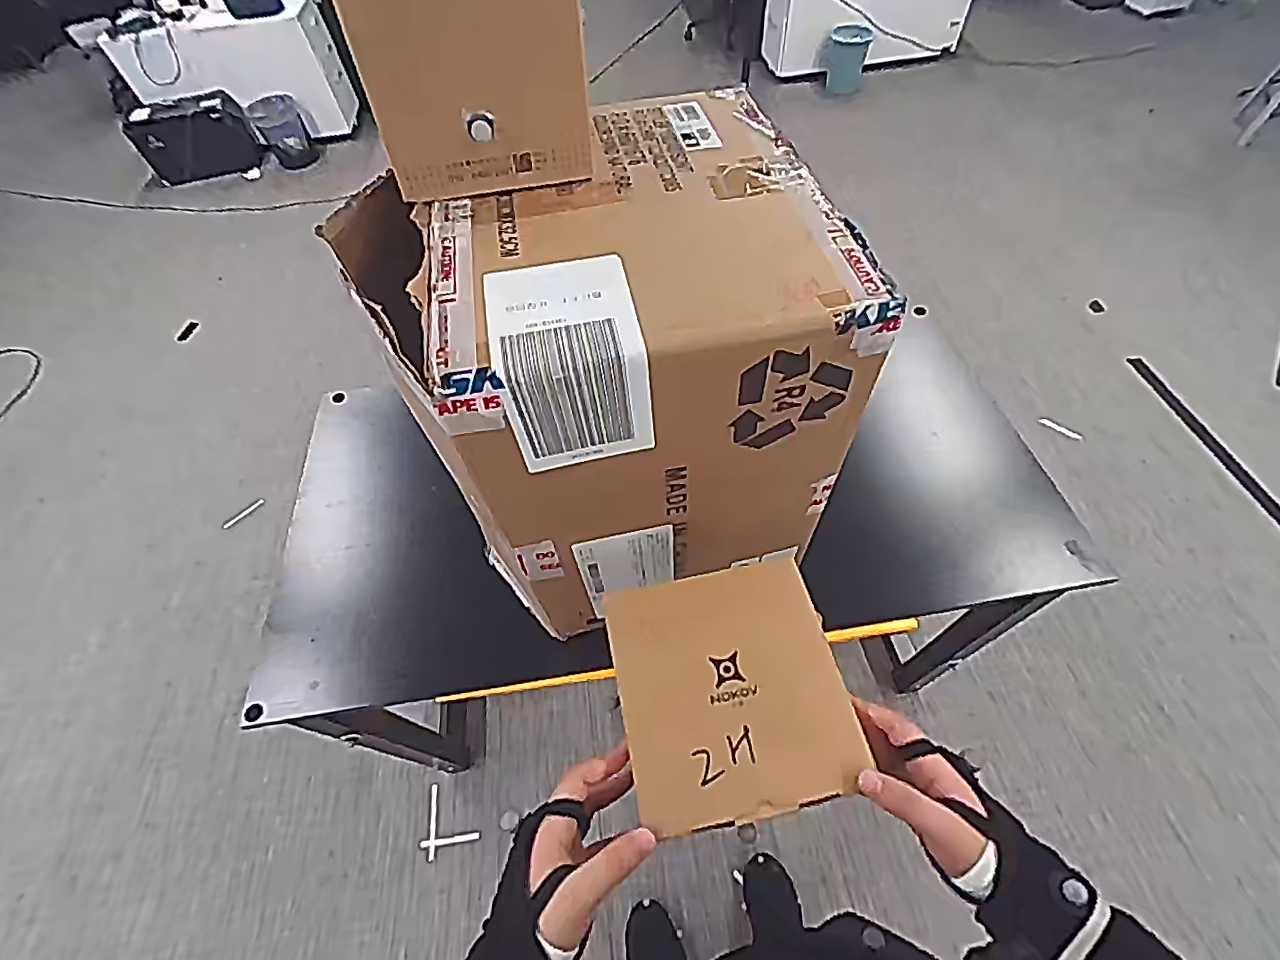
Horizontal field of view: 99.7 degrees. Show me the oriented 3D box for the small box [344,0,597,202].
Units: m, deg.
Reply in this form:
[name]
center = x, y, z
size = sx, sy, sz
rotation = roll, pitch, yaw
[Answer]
[small box]
center = -0.135, -0.360, 0.452
size = 0.168, 0.176, 0.179
rotation = -12, 54, -7
